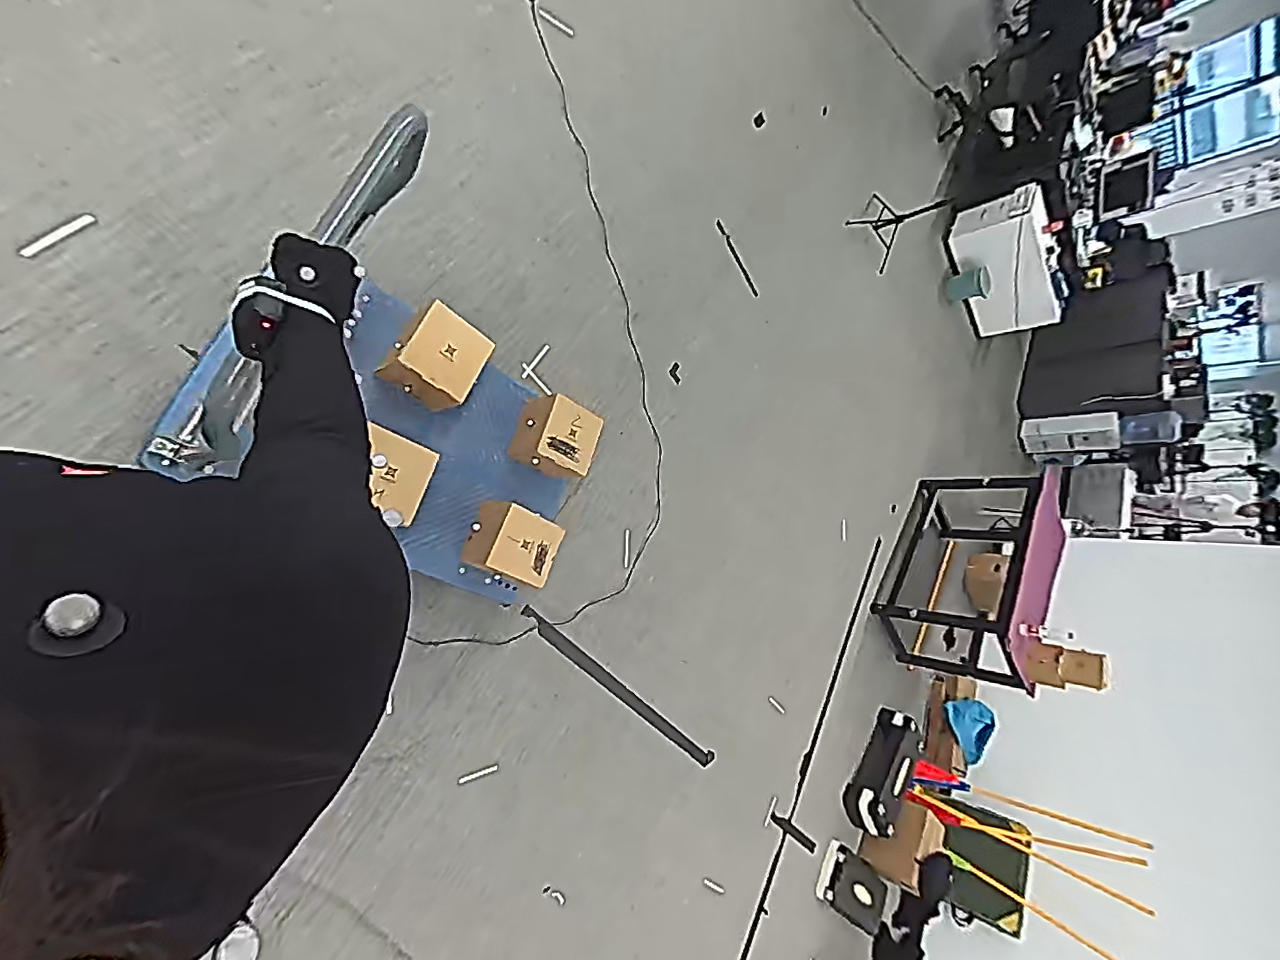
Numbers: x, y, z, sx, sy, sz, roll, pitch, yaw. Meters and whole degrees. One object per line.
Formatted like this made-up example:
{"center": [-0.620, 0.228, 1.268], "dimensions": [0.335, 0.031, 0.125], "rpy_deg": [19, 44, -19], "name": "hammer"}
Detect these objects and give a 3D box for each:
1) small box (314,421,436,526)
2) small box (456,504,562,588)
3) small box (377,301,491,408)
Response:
{"center": [-0.586, -0.009, 1.190], "dimensions": [0.168, 0.176, 0.179], "rpy_deg": [31, 68, -38], "name": "small box"}
{"center": [-0.342, 0.167, 1.409], "dimensions": [0.179, 0.176, 0.168], "rpy_deg": [34, 67, -35], "name": "small box"}
{"center": [-0.494, -0.291, 1.287], "dimensions": [0.168, 0.176, 0.179], "rpy_deg": [37, 67, -36], "name": "small box"}
